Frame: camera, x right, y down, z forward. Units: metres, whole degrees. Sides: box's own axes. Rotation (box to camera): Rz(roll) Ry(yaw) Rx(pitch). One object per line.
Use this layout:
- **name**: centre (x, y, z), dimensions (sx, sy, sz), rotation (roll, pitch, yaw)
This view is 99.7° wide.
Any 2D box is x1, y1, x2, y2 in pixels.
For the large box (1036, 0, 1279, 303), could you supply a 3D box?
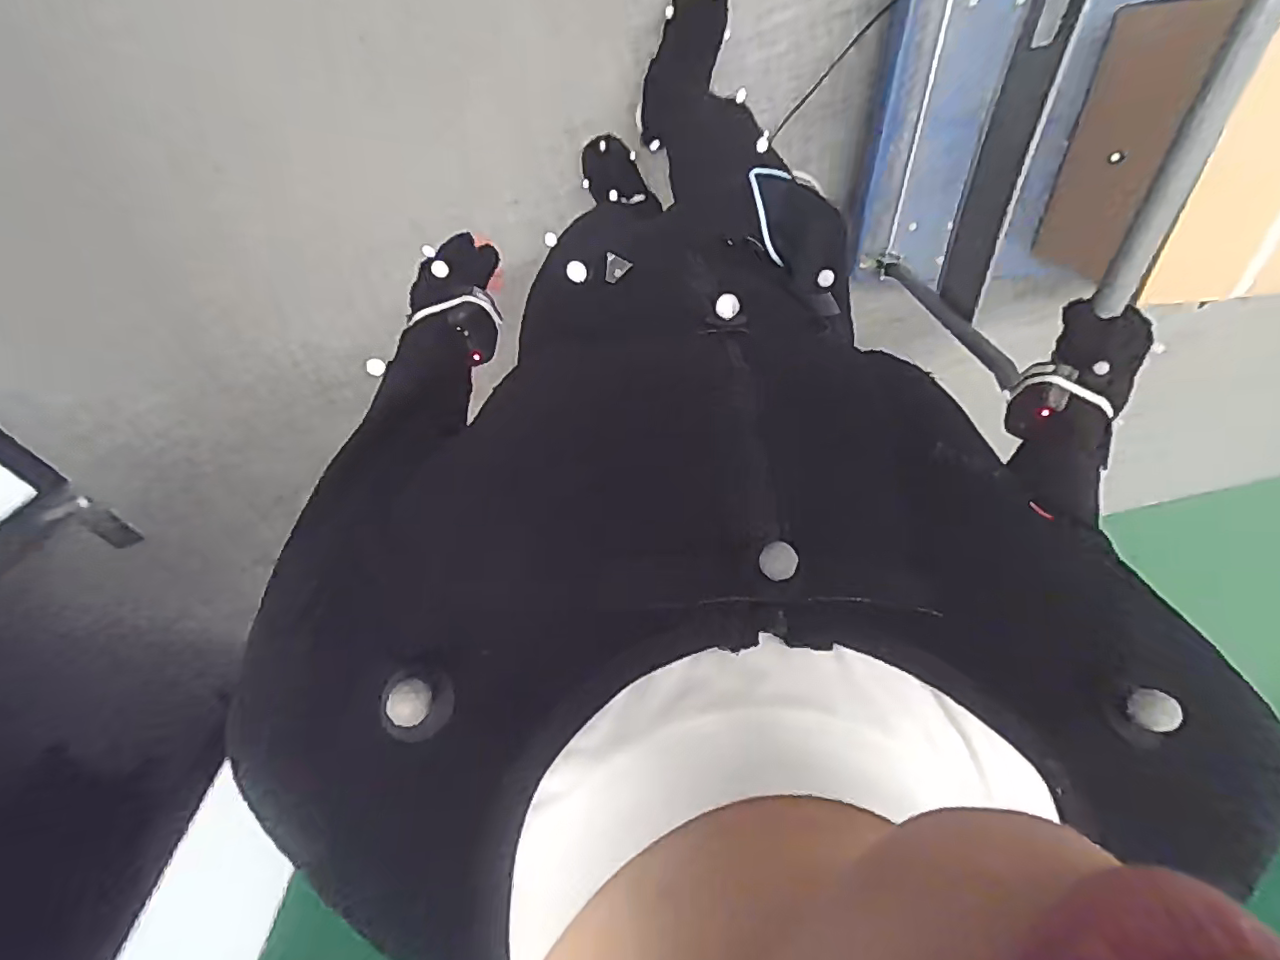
- **large box**: centre (0.967, -0.559, 0.909), dimensions (0.320, 0.320, 0.408), rotation (-5, 127, 2)
